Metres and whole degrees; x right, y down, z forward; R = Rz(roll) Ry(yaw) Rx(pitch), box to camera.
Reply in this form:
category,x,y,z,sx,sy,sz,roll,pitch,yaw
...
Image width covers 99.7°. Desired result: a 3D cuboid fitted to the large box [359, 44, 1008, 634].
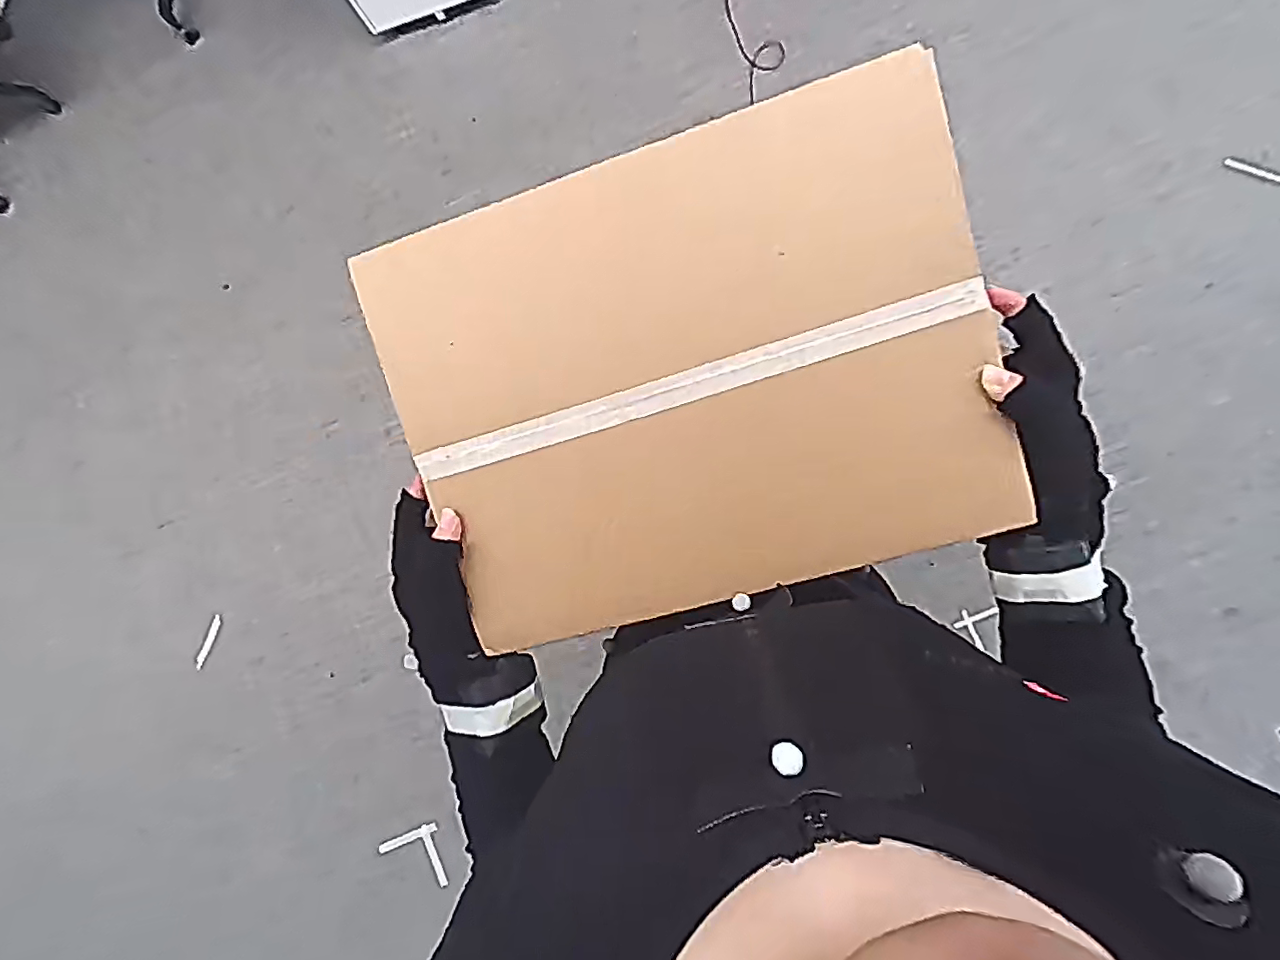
category,x,y,z,sx,sy,sz,roll,pitch,yaw
large box,0.042,-0.099,0.528,0.408,0.320,0.320,-16,96,9
